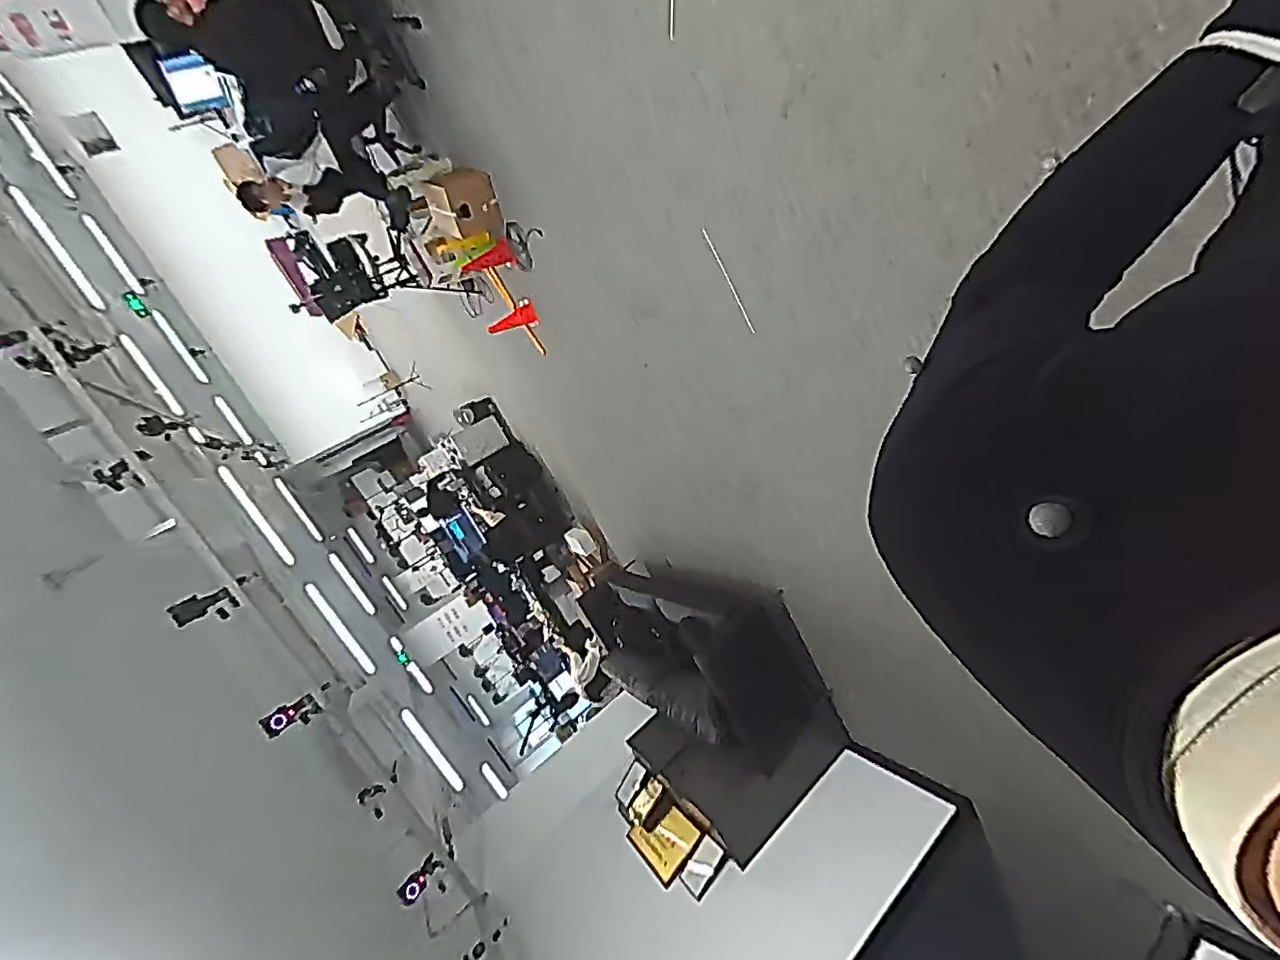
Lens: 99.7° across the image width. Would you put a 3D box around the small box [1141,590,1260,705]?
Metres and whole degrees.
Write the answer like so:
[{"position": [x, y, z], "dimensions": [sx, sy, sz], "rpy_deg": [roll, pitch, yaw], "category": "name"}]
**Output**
[{"position": [1.388, 0.406, 1.337], "dimensions": [0.168, 0.176, 0.179], "rpy_deg": [9, 128, 60], "category": "small box"}]
